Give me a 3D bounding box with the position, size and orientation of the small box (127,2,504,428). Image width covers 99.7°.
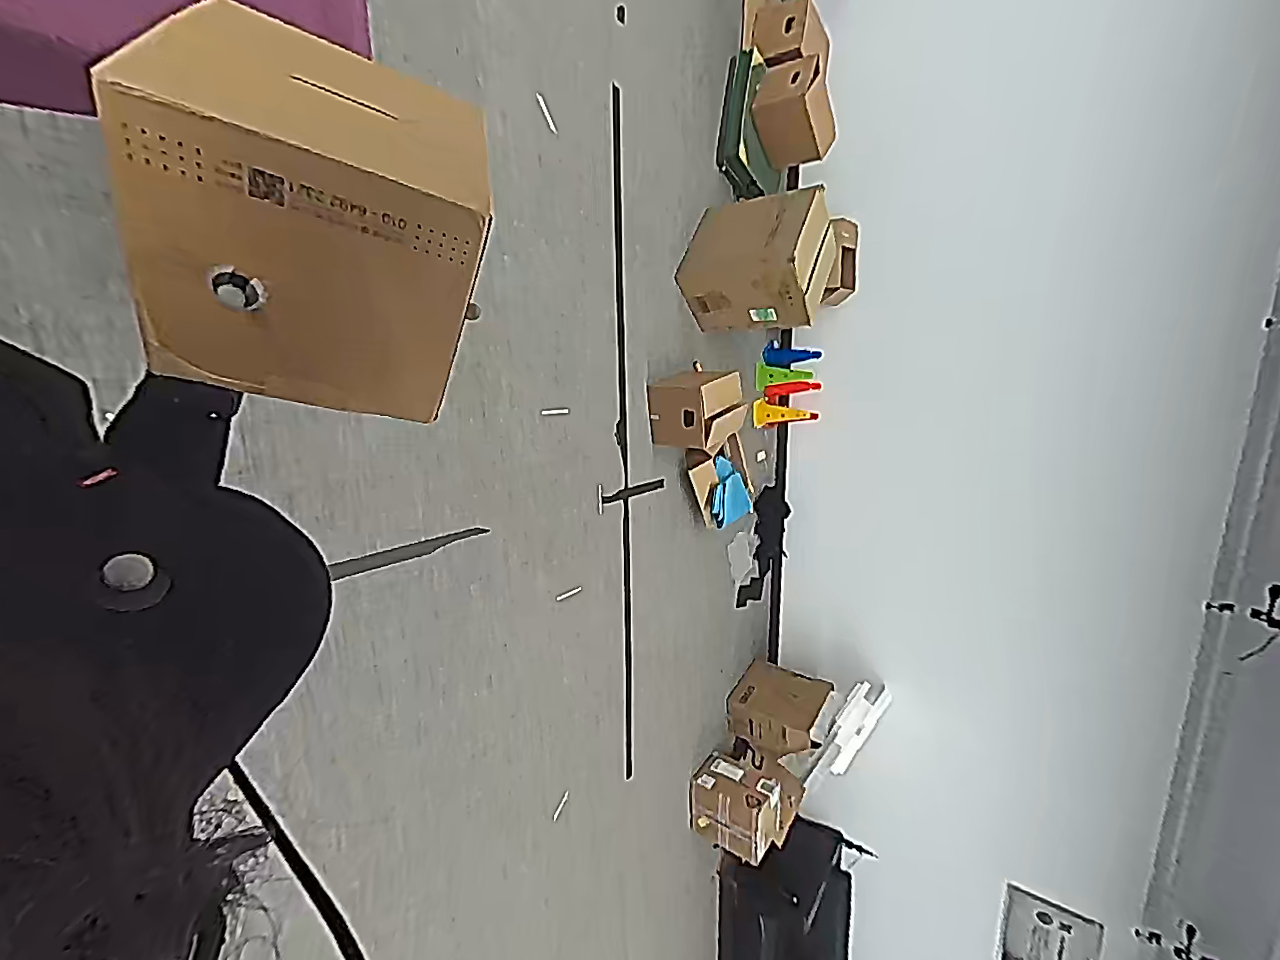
[{"bbox_3d":[-0.196,-0.165,0.357,0.168,0.176,0.179,11,44,-28],"label":"small box"}]
